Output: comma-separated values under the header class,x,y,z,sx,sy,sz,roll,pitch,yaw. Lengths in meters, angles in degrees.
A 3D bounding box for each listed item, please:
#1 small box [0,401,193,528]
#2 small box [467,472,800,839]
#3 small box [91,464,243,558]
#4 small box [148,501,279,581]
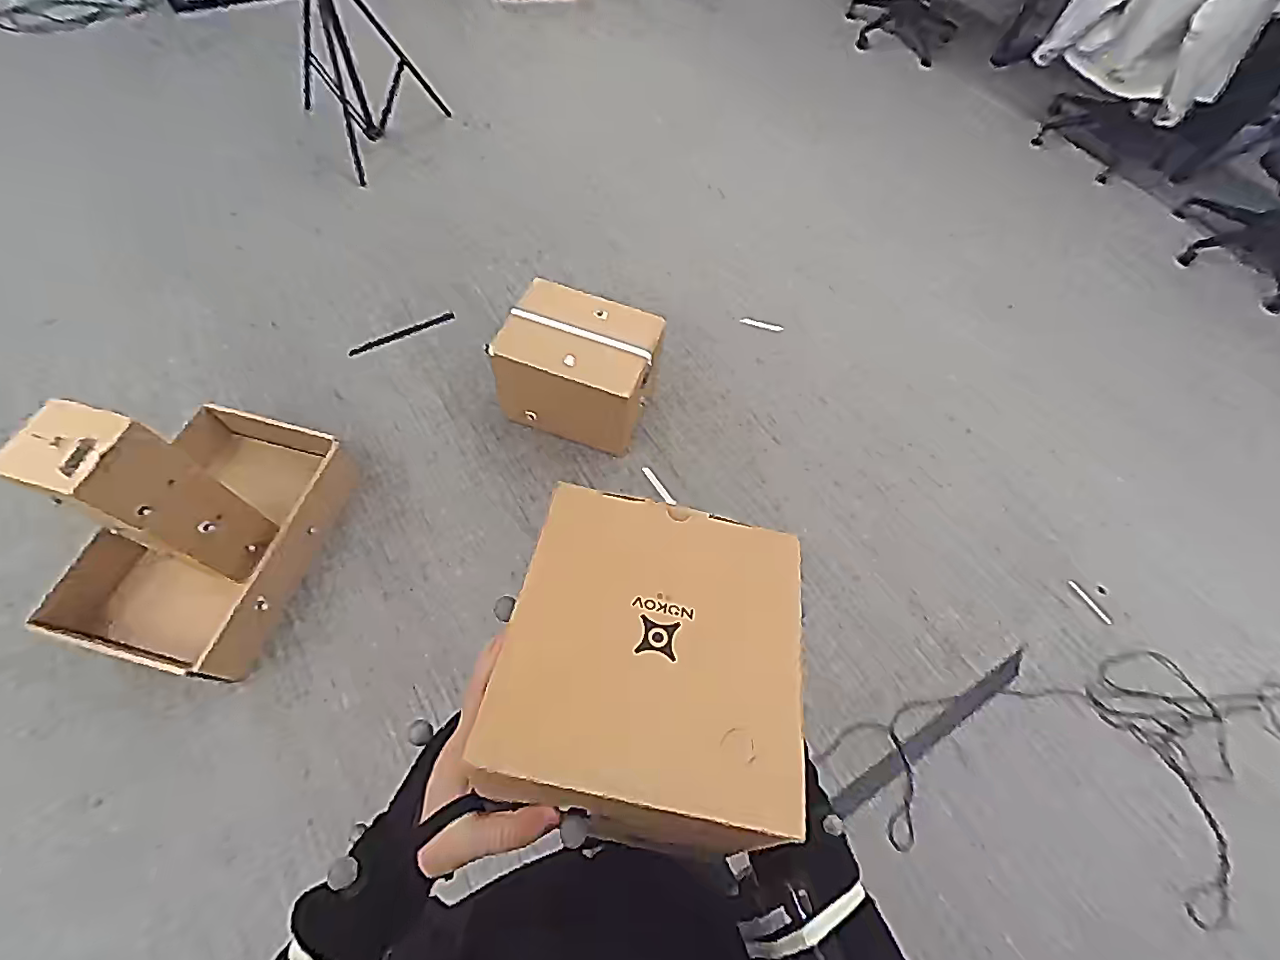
class,x,y,z,sx,sy,sz,roll,pitch,yaw
small box,-1.034,-0.023,1.044,0.179,0.176,0.168,14,62,5
small box,-0.001,0.125,0.370,0.168,0.176,0.179,12,50,-1
small box,-1.040,0.054,1.189,0.179,0.176,0.168,16,63,3
small box,-1.050,0.132,1.331,0.179,0.176,0.168,17,62,5
